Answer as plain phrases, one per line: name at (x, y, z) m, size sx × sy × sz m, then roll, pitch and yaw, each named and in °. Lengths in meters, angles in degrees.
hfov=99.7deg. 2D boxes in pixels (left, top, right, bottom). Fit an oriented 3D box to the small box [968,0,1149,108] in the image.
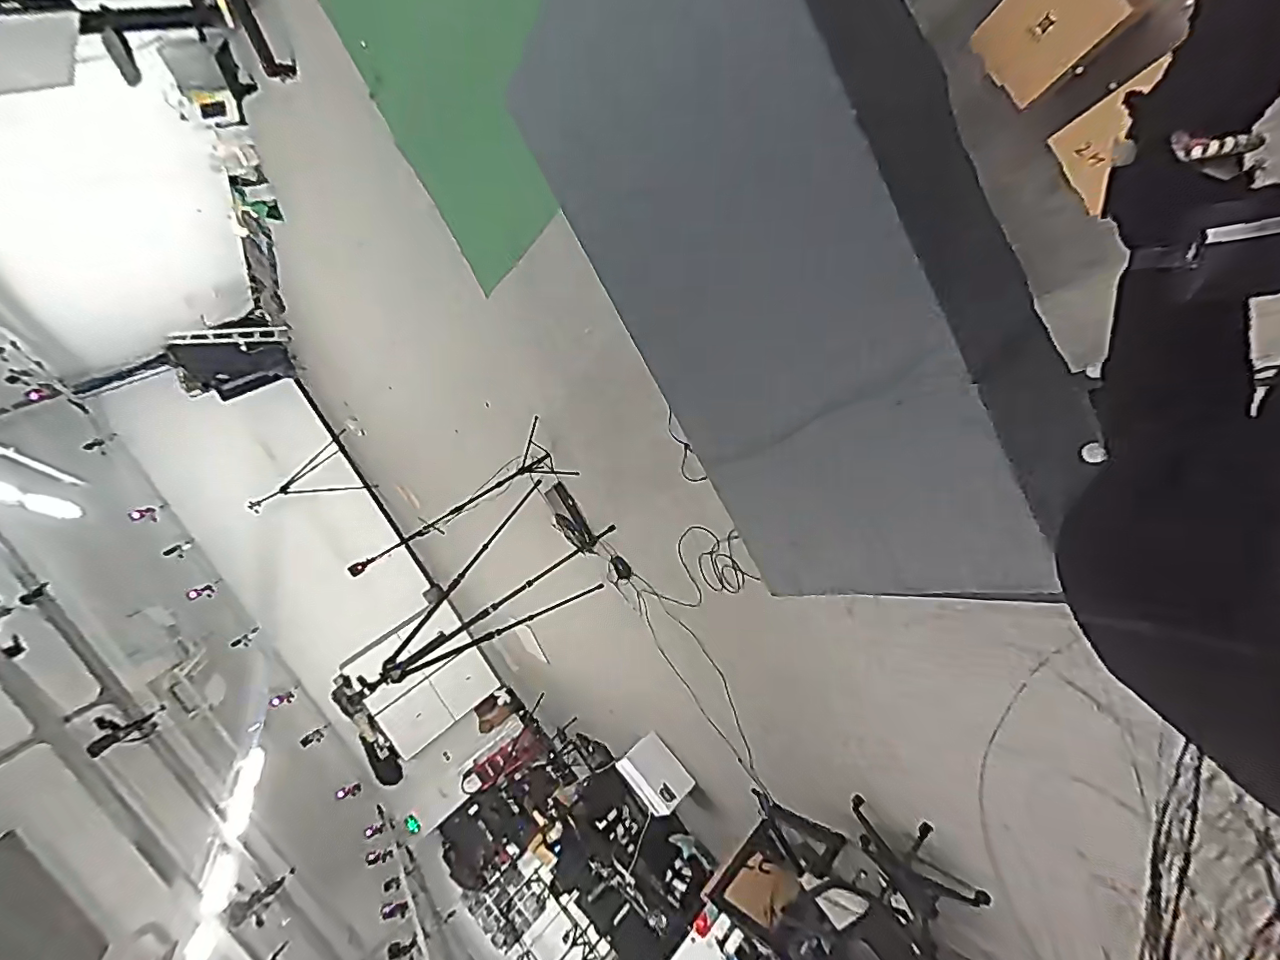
small box at (0.734, -0.803, 0.948) m, size 0.168 × 0.176 × 0.179 m, roll 54°, pitch 150°, yaw 1°
